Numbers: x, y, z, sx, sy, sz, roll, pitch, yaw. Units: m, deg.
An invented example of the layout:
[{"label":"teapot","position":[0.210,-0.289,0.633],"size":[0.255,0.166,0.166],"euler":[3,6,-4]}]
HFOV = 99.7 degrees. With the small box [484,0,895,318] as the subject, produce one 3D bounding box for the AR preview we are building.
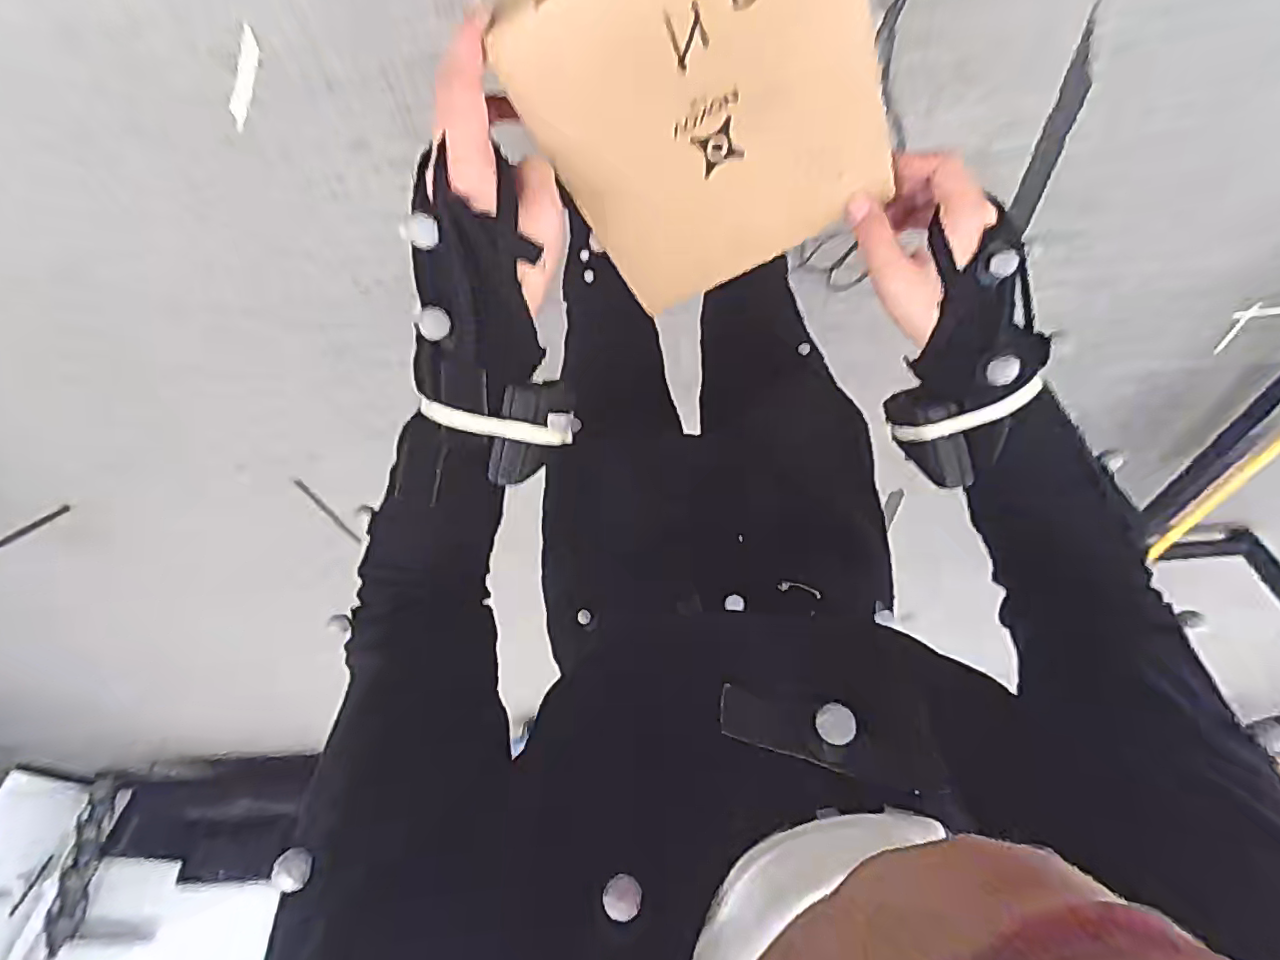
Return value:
[{"label":"small box","position":[0.034,-0.242,0.327],"size":[0.168,0.176,0.179],"euler":[-21,141,20]}]
